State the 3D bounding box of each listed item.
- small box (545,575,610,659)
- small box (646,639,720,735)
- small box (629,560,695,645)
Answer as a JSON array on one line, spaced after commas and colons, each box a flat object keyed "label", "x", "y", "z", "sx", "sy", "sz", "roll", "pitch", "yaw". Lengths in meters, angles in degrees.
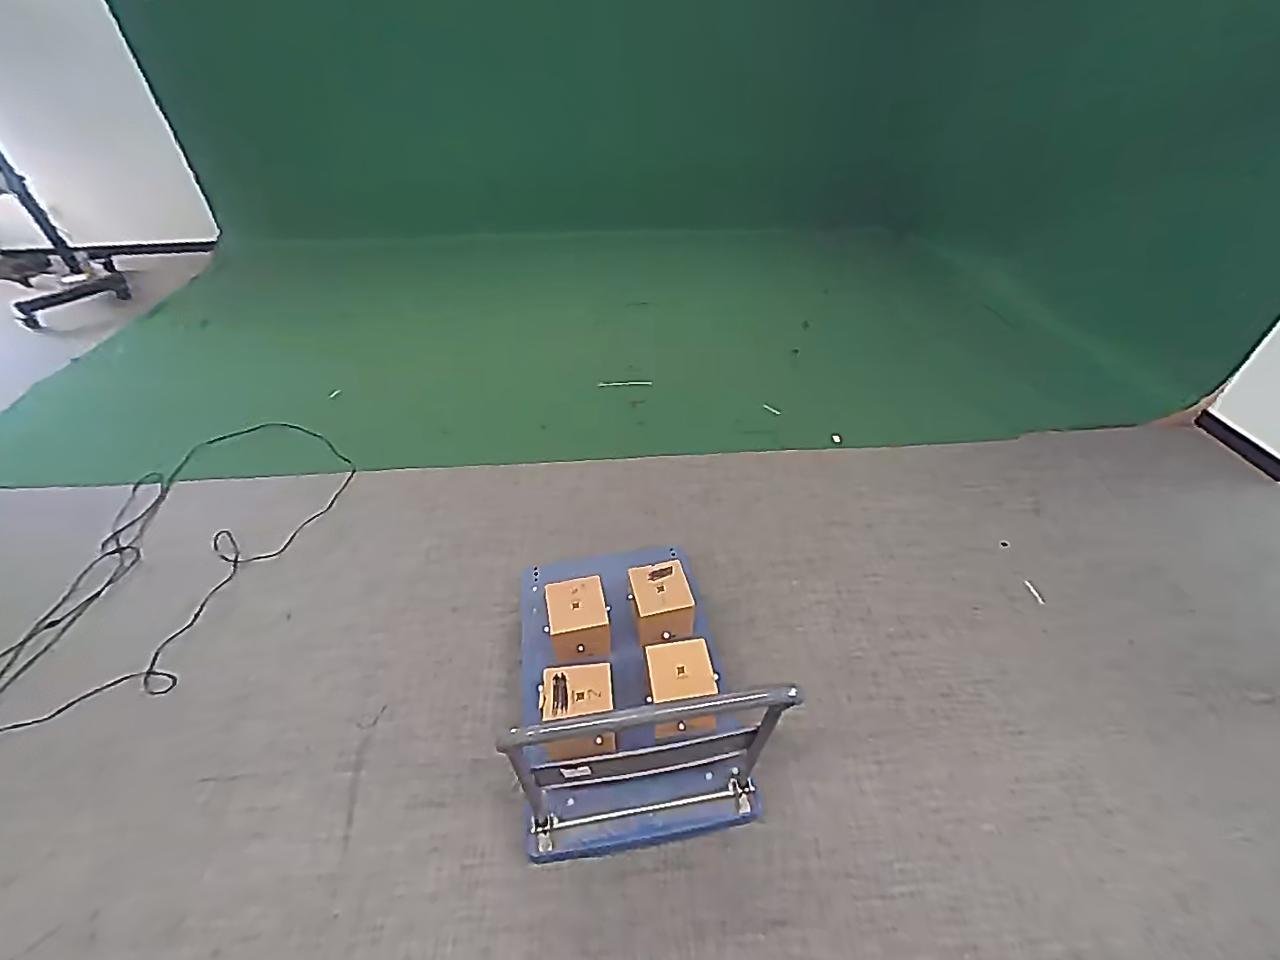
[{"label": "small box", "x": -0.183, "y": 0.414, "z": 1.606, "sx": 0.168, "sy": 0.176, "sz": 0.179, "roll": -8, "pitch": 43, "yaw": -9}, {"label": "small box", "x": 0.107, "y": 0.556, "z": 1.453, "sx": 0.168, "sy": 0.176, "sz": 0.179, "roll": -6, "pitch": 44, "yaw": -6}, {"label": "small box", "x": 0.063, "y": 0.372, "z": 1.647, "sx": 0.168, "sy": 0.176, "sz": 0.179, "roll": -10, "pitch": 45, "yaw": -9}]
